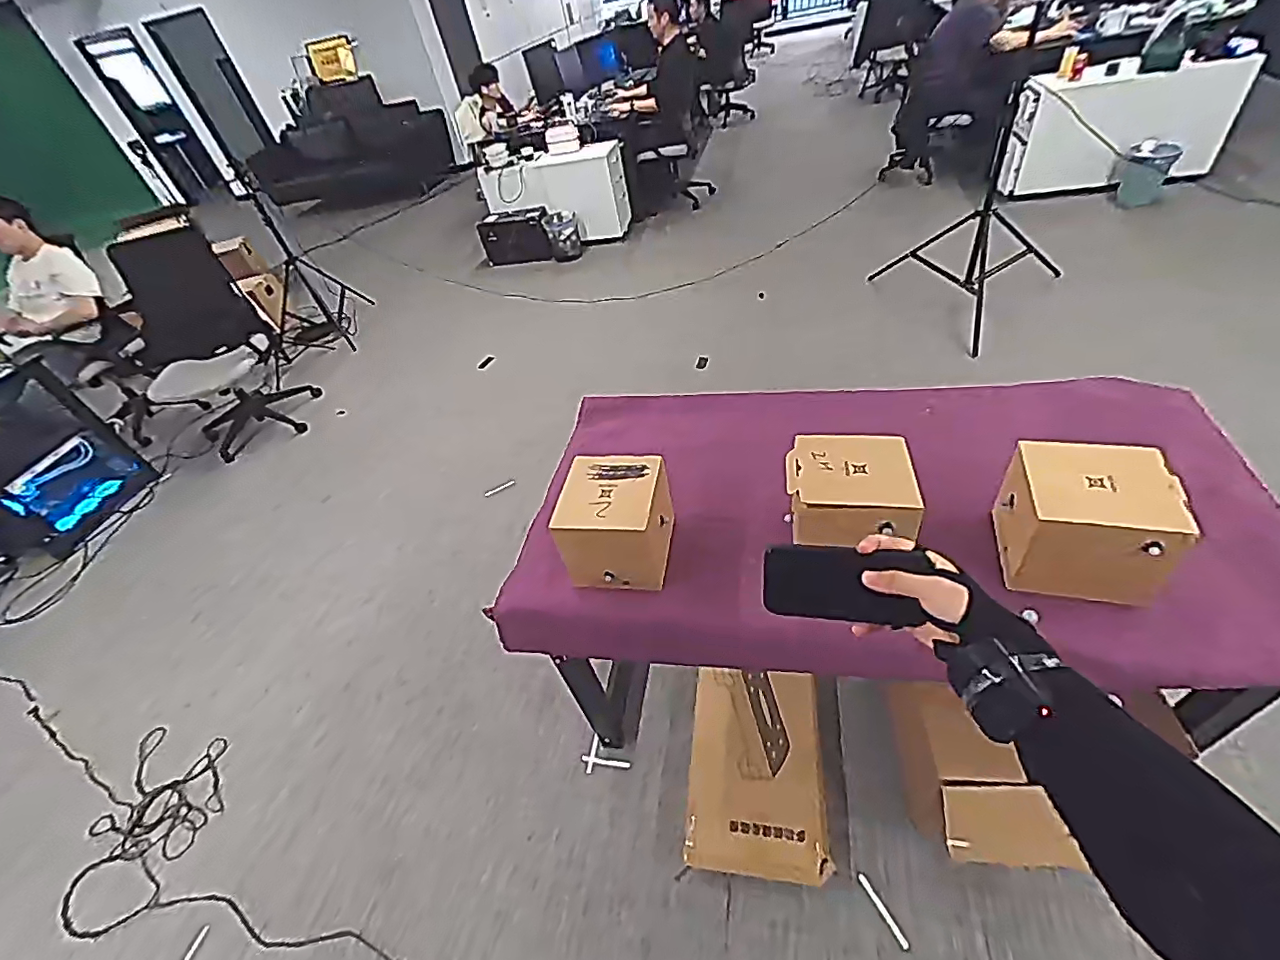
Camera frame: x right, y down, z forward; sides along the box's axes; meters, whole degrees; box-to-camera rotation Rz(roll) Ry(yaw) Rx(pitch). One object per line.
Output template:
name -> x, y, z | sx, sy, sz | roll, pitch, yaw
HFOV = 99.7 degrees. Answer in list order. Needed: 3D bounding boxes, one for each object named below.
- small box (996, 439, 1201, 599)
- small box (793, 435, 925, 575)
small box -> 0.652, 0.057, 0.803 | 0.179, 0.176, 0.168 | 5, 46, 19
small box -> 0.347, 0.042, 0.894 | 0.179, 0.176, 0.168 | -1, 42, 14
